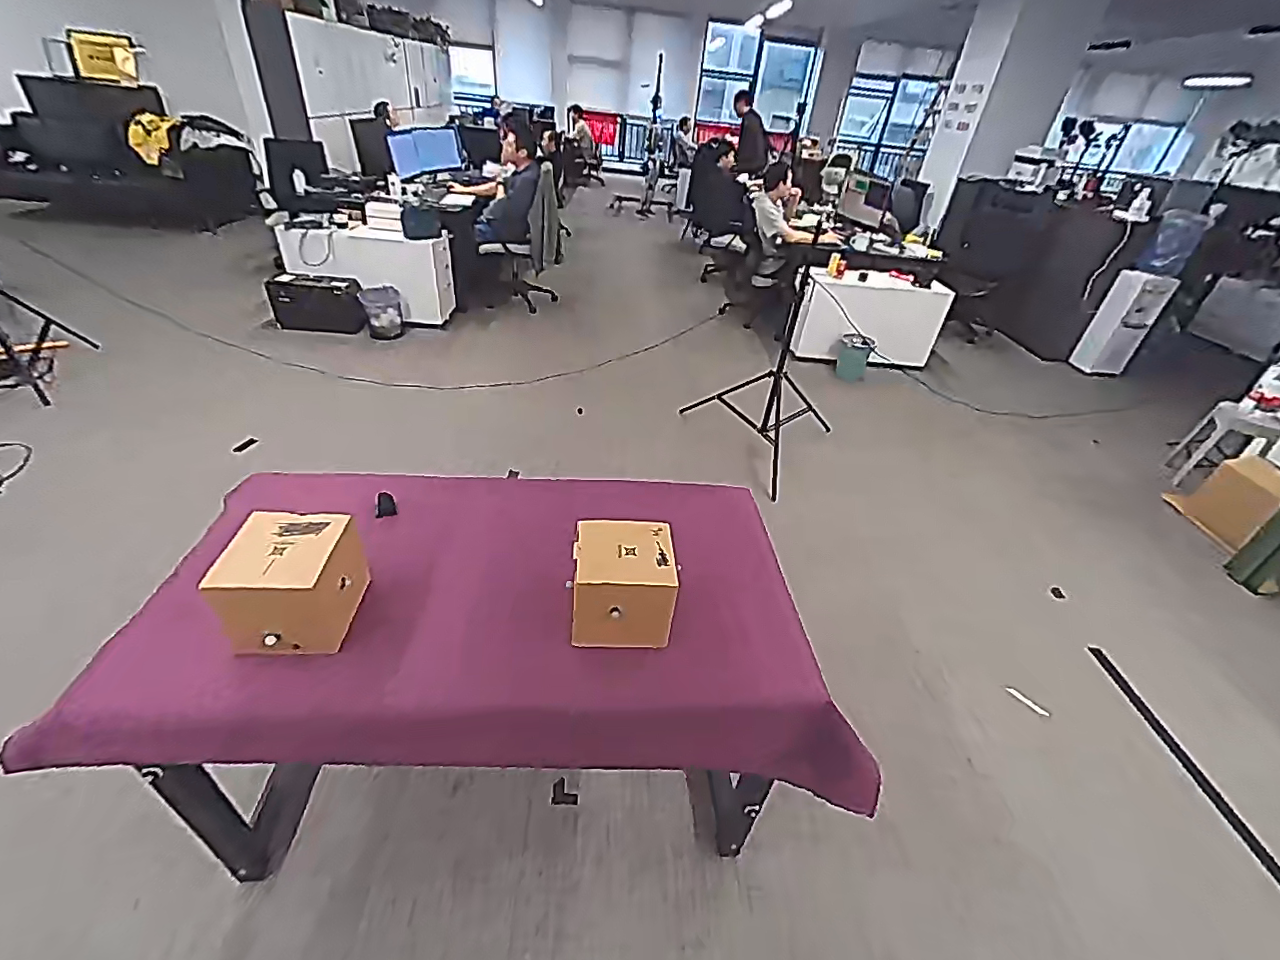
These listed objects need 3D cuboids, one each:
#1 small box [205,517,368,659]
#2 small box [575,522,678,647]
[{"bbox_3d":[-0.591,0.185,0.936,0.168,0.176,0.179,2,36,-7],"label":"small box"},{"bbox_3d":[-0.030,0.195,1.009,0.179,0.176,0.168,1,36,-5],"label":"small box"}]
